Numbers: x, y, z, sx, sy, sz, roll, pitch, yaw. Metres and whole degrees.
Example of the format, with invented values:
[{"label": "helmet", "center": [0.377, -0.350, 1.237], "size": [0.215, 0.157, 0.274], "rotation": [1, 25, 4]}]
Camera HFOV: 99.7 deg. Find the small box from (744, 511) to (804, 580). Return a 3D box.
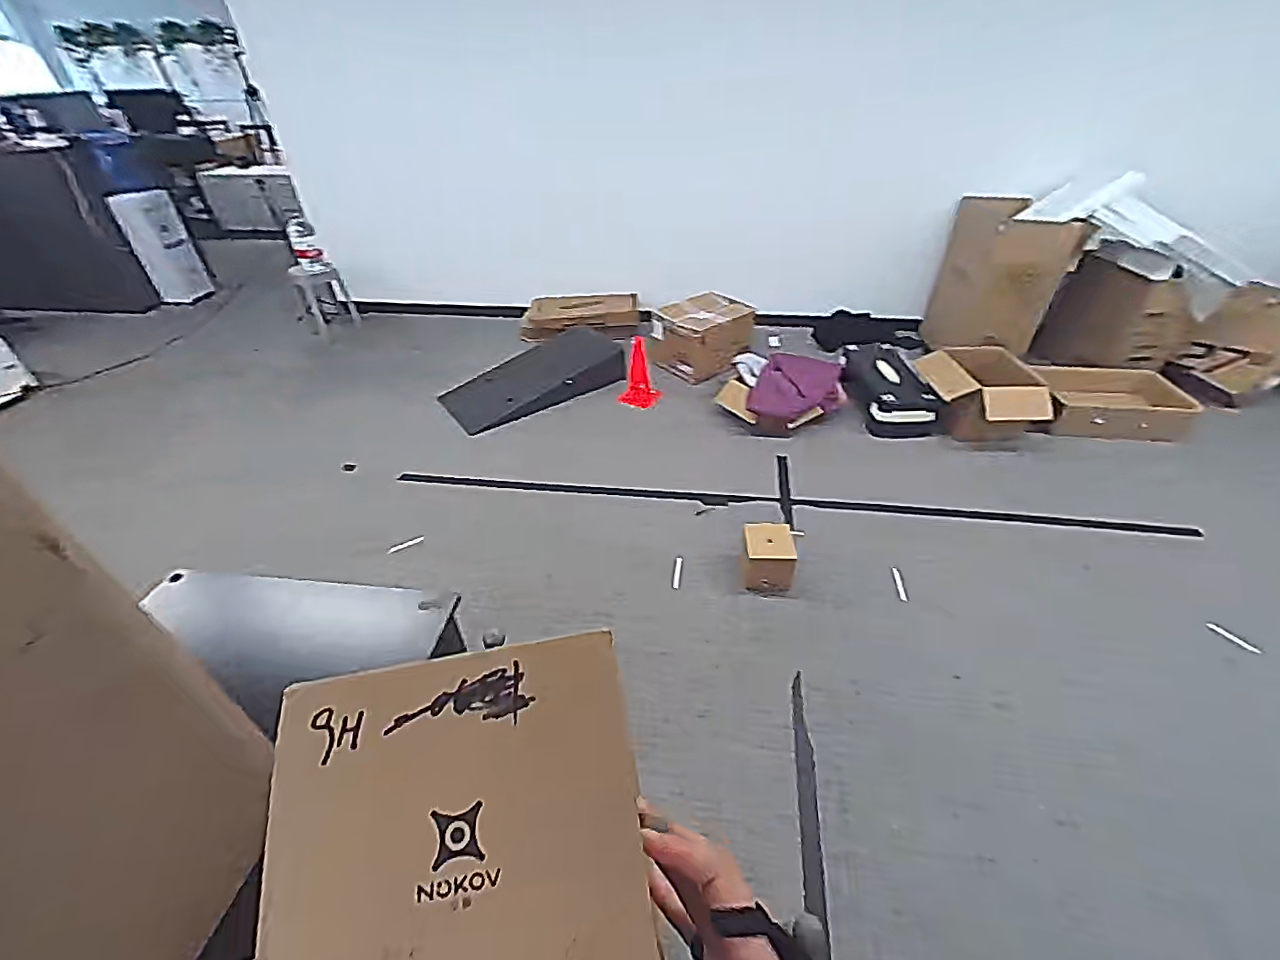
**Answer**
[{"label": "small box", "center": [0.460, 0.228, 1.889], "size": [0.168, 0.176, 0.179], "rotation": [-1, 40, 2]}]
